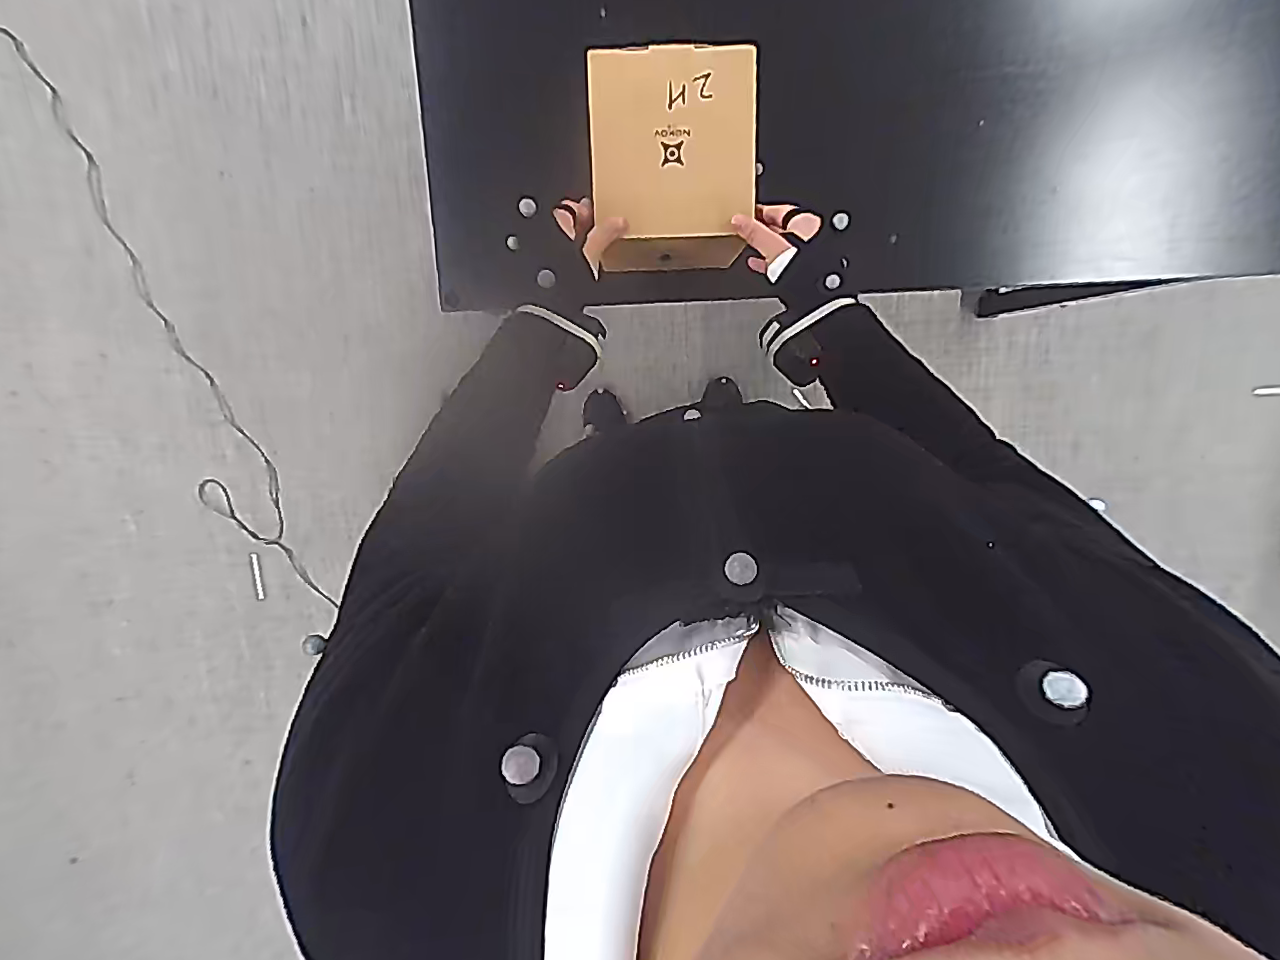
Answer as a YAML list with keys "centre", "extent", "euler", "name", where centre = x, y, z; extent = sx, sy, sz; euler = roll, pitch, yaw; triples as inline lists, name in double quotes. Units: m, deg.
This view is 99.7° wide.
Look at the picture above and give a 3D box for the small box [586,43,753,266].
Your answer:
- centre: [0.032, -0.348, 0.616]
  extent: [0.168, 0.176, 0.179]
  euler: [-2, 100, 1]
  name: "small box"
